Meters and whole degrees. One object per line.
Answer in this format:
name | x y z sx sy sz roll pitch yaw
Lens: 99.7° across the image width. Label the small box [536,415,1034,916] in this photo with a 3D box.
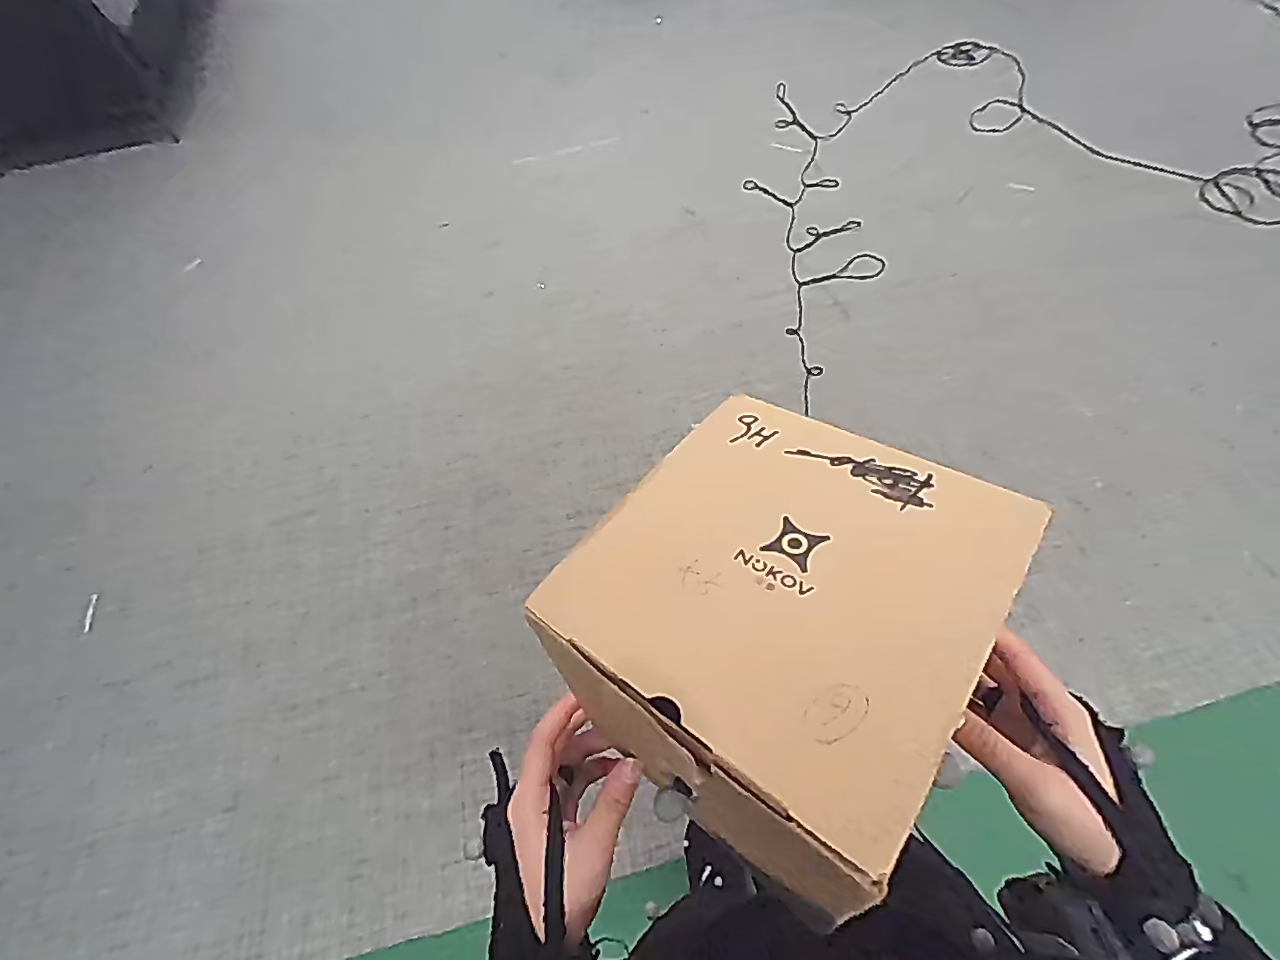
small box | 0.077 0.099 0.306 0.168 0.176 0.179 27 58 32
